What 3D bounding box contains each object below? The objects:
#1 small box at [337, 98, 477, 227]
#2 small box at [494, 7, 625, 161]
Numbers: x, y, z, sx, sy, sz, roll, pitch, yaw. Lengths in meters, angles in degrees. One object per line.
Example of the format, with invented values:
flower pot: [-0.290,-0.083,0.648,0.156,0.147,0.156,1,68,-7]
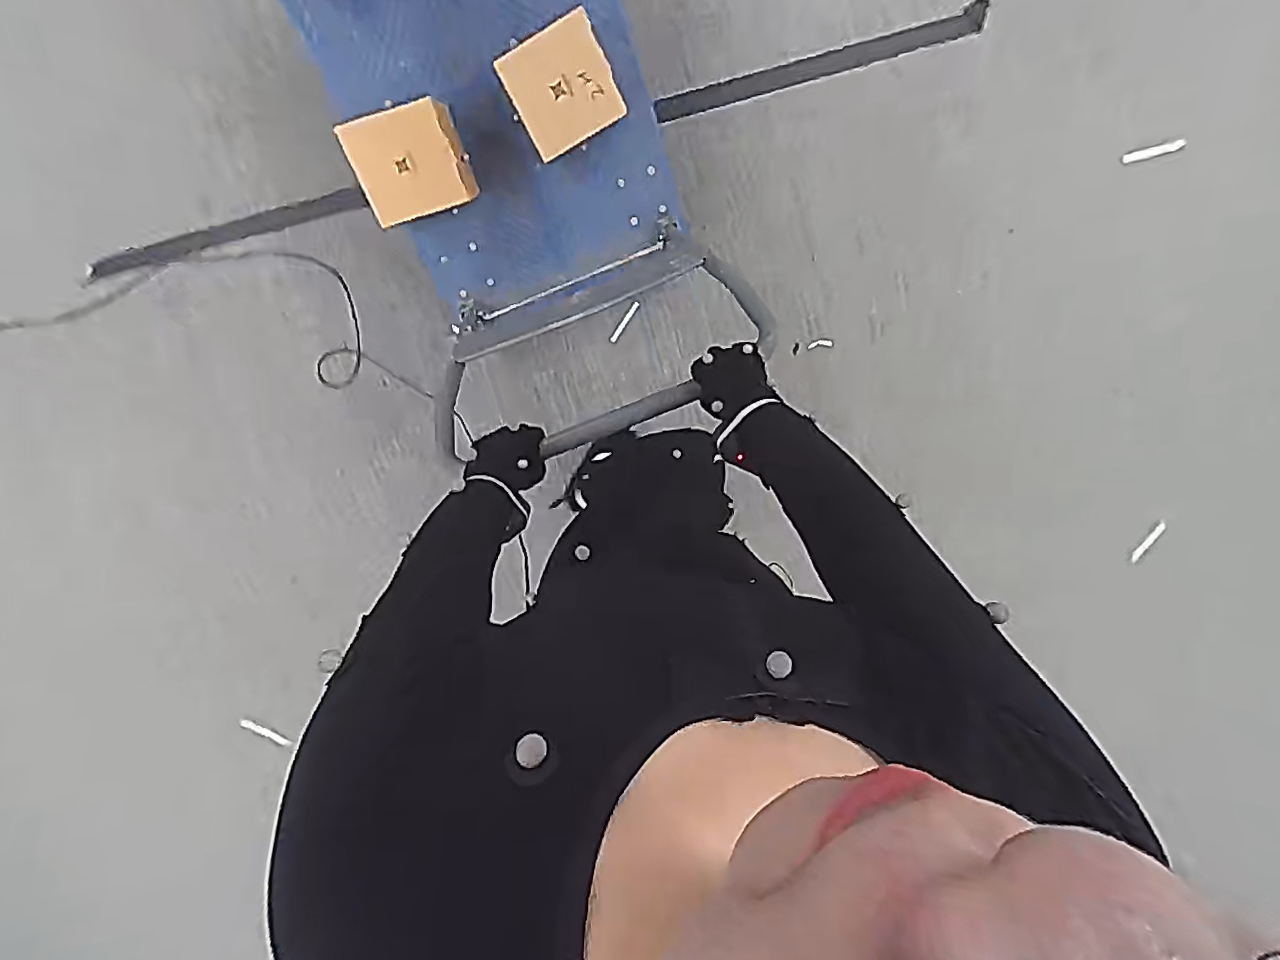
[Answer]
small box: [-0.428,-0.597,1.028,0.179,0.176,0.168,-18,121,0]
small box: [-0.144,-0.716,1.001,0.179,0.176,0.168,-27,121,8]
